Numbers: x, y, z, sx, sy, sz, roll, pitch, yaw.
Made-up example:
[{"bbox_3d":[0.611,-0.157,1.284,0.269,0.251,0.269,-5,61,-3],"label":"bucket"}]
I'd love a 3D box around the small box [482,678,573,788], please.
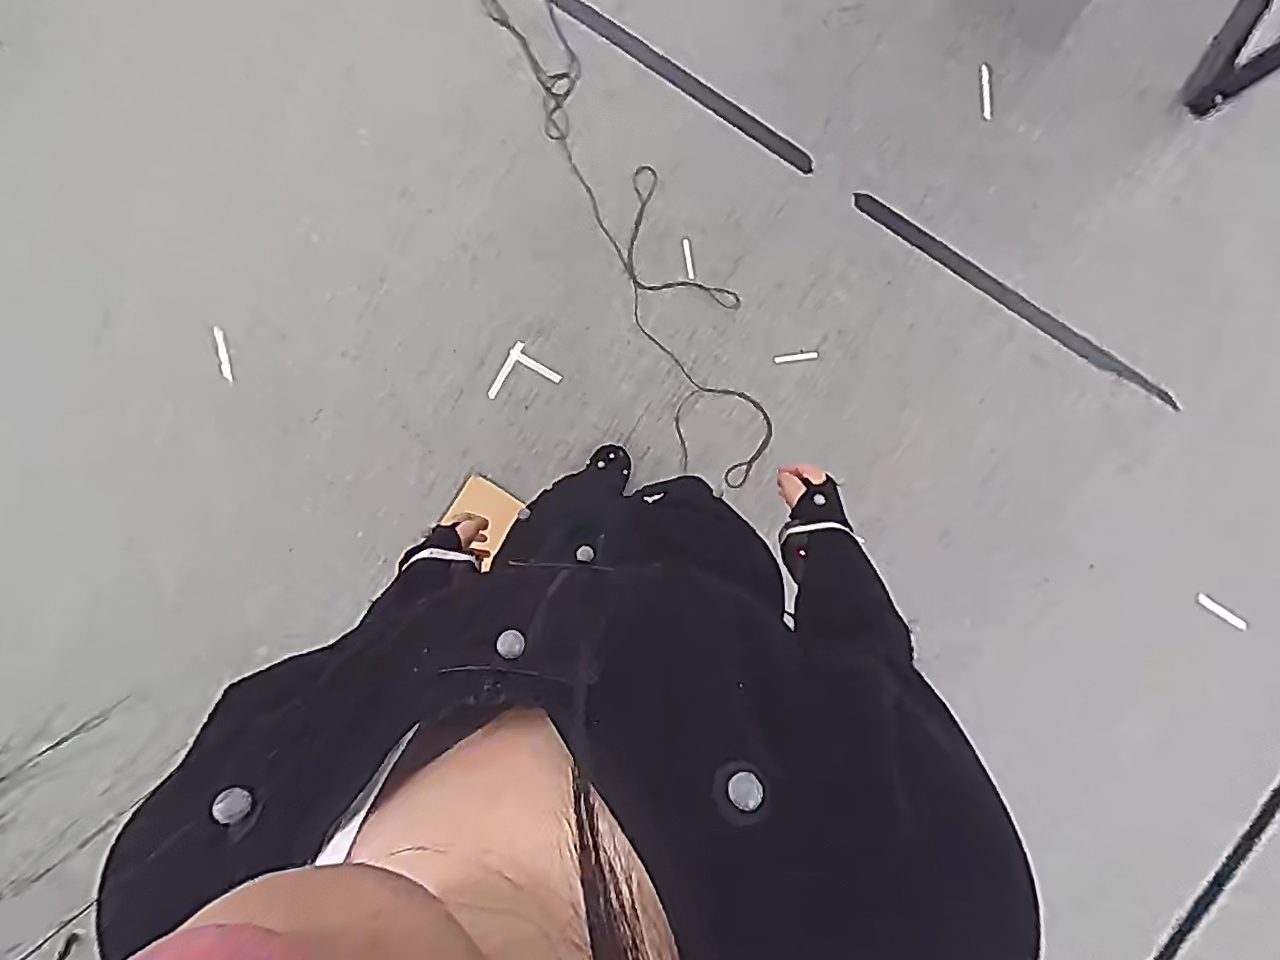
[{"bbox_3d":[-0.287,0.654,1.423,0.168,0.176,0.179,26,92,-1],"label":"small box"}]
